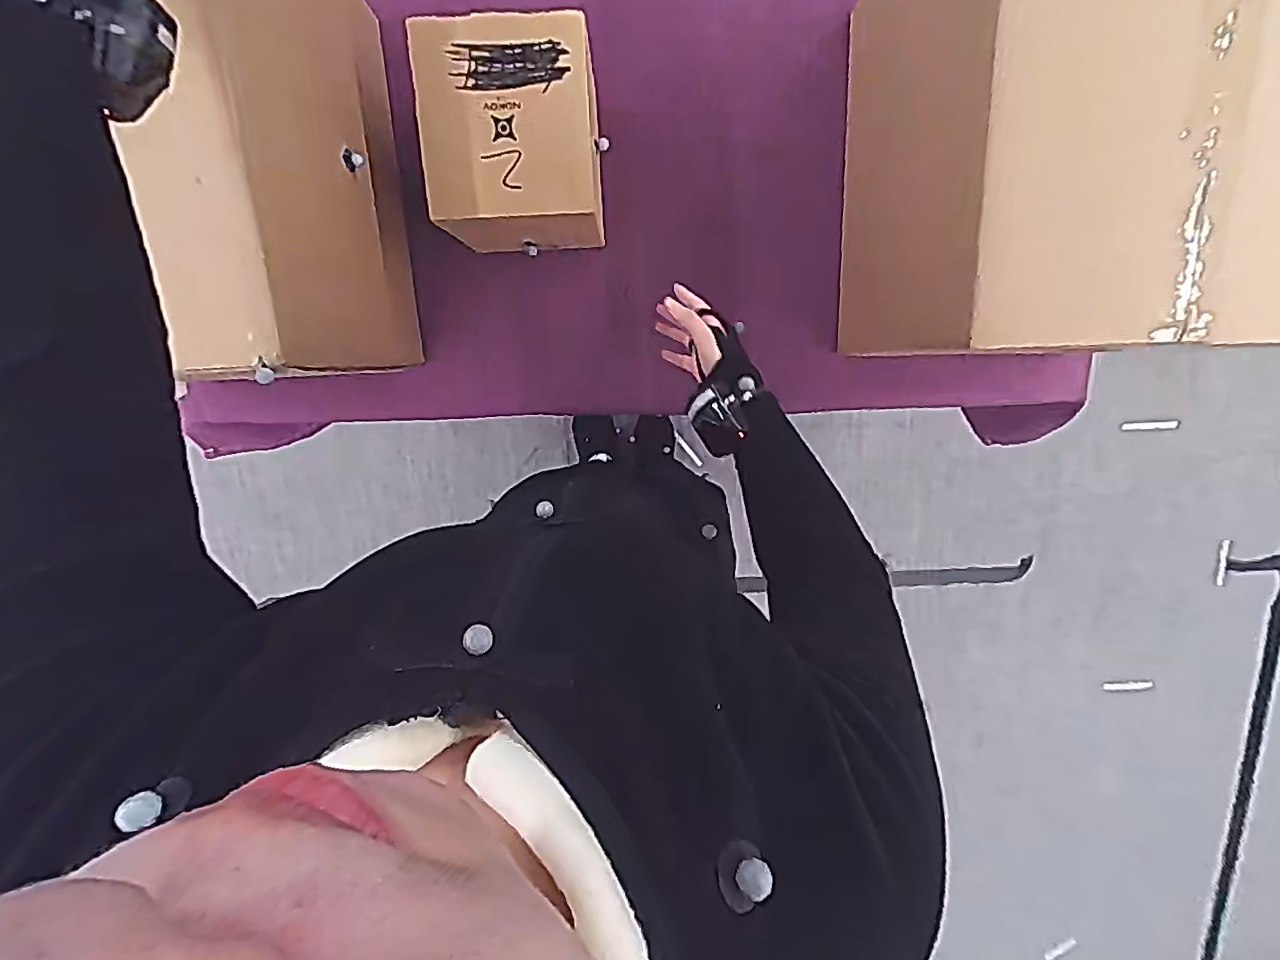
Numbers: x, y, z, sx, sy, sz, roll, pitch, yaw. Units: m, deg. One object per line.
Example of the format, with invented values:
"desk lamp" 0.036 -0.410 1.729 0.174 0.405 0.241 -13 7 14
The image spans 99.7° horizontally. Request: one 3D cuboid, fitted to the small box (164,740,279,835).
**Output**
"small box" -1.213 0.889 1.564 0.168 0.176 0.179 0 122 19
